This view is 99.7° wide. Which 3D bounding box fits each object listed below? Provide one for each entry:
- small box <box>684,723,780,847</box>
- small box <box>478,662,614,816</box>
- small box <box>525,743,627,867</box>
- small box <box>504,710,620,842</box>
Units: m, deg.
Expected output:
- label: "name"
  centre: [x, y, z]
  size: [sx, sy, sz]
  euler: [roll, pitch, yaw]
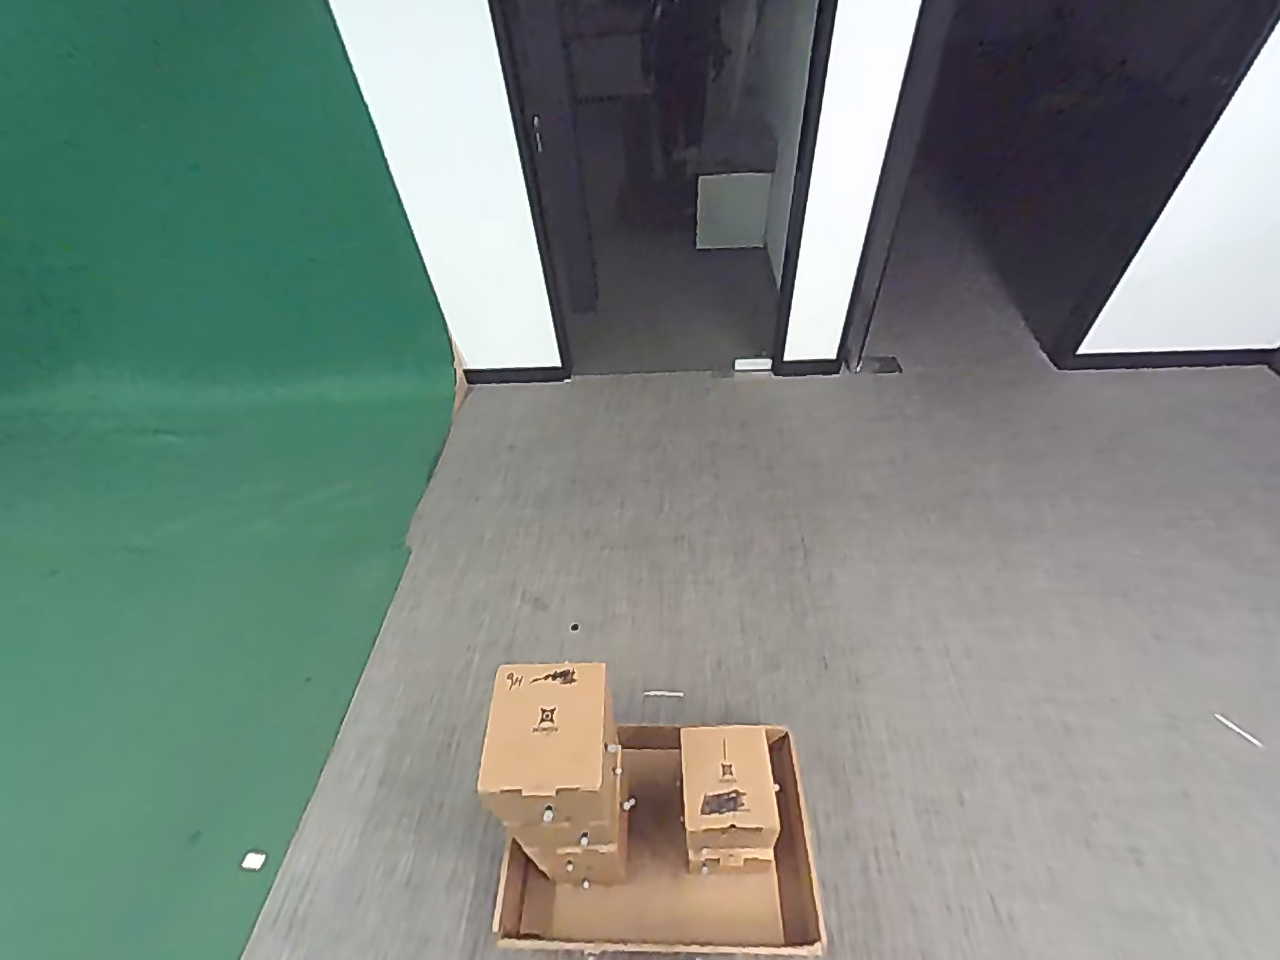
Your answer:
- label: "small box"
  centre: [0.170, 0.591, 1.044]
  size: [0.168, 0.176, 0.179]
  euler: [0, 47, 4]
- label: "small box"
  centre: [-0.127, 0.392, 0.813]
  size: [0.168, 0.176, 0.179]
  euler: [-1, 47, 1]
- label: "small box"
  centre: [-0.113, 0.625, 1.043]
  size: [0.168, 0.176, 0.179]
  euler: [0, 47, 3]
- label: "small box"
  centre: [-0.122, 0.508, 0.929]
  size: [0.168, 0.176, 0.179]
  euler: [-1, 46, 1]
